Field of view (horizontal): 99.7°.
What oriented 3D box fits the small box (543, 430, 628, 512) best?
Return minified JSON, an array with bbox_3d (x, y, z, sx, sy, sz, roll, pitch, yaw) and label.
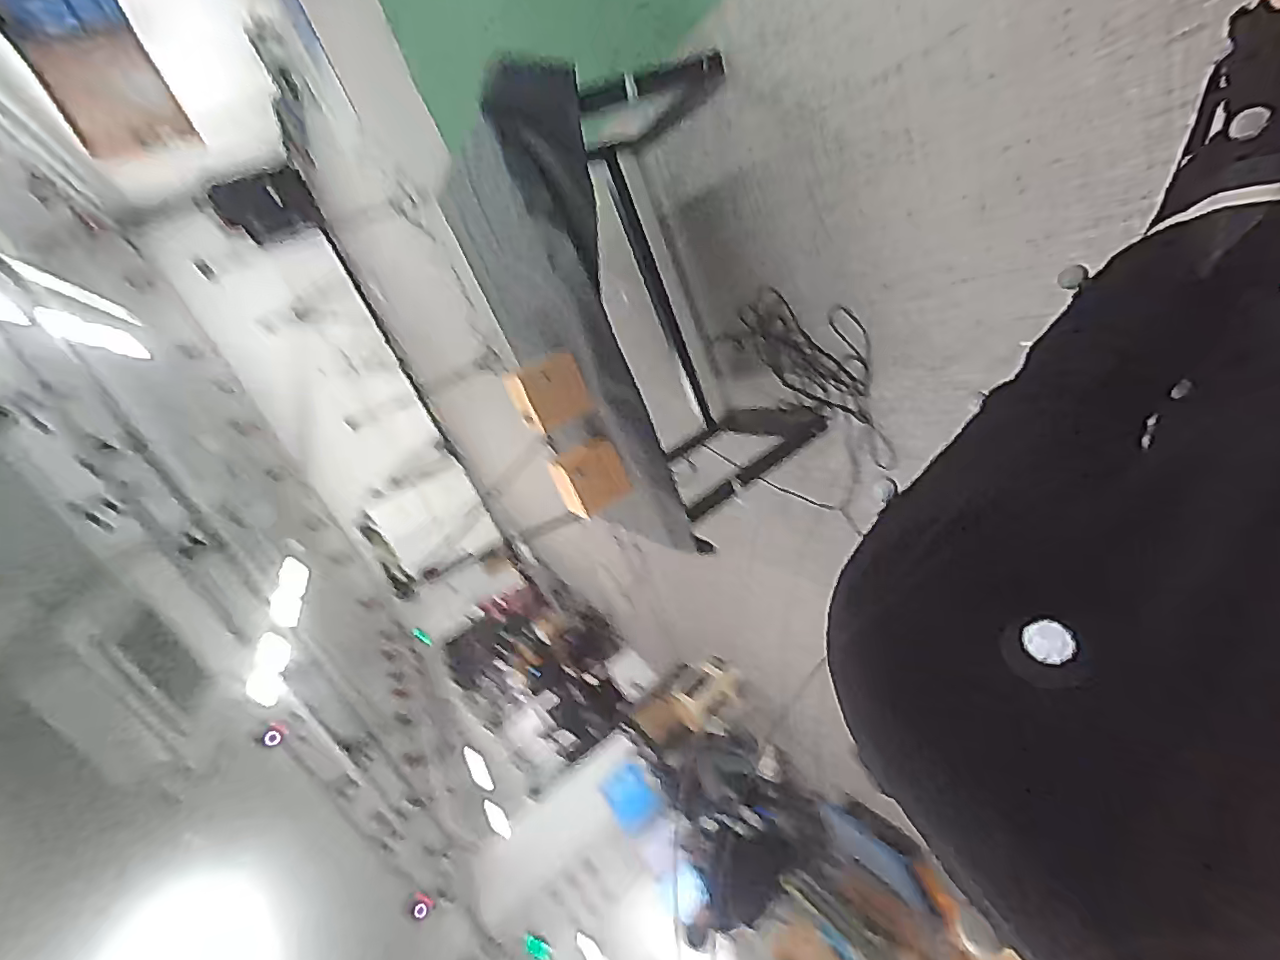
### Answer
[{"bbox_3d":[-0.160,-0.031,1.632,0.168,0.176,0.179,16,132,60],"label":"small box"}]
